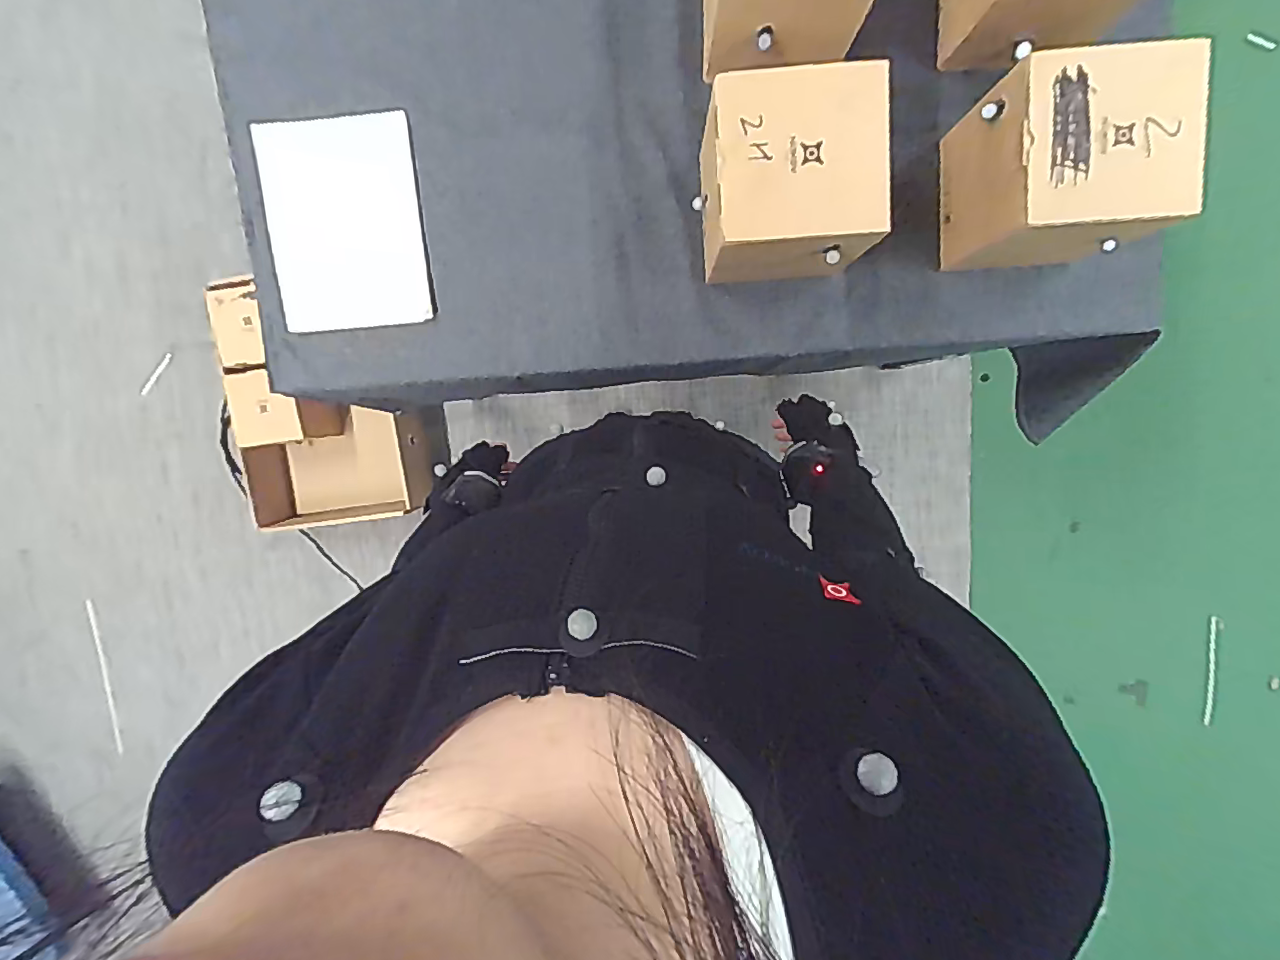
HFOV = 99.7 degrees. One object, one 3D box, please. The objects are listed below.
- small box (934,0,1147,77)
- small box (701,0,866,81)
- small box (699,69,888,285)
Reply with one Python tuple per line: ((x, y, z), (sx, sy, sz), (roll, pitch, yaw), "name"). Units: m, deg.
((0.448, -0.588, 0.594), (0.168, 0.176, 0.179), (-1, 97, 2), "small box")
((0.159, -0.578, 0.605), (0.168, 0.176, 0.179), (-1, 96, 2), "small box")
((0.165, -0.334, 0.629), (0.179, 0.176, 0.168), (-3, 95, 2), "small box")
